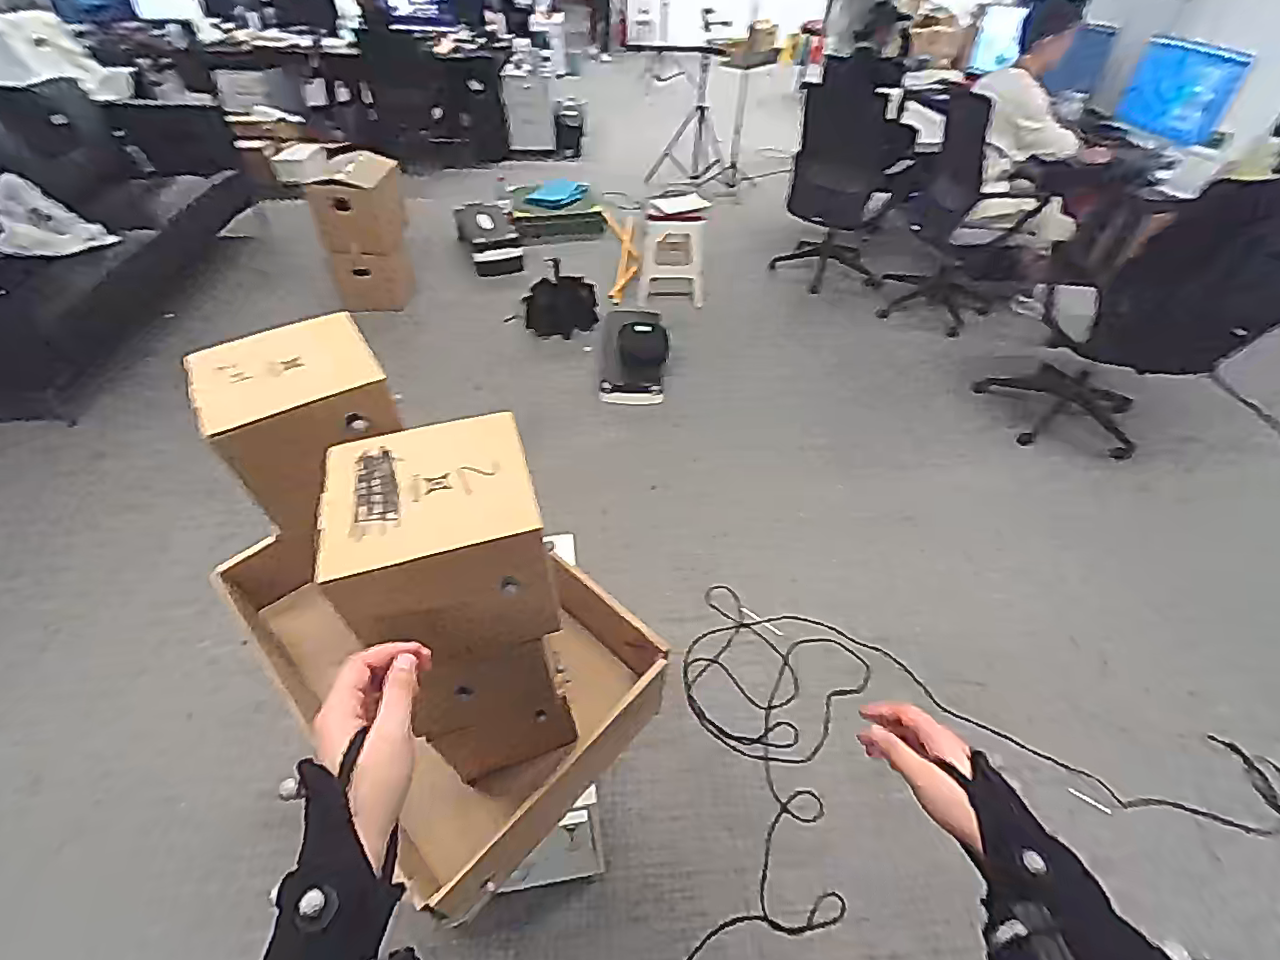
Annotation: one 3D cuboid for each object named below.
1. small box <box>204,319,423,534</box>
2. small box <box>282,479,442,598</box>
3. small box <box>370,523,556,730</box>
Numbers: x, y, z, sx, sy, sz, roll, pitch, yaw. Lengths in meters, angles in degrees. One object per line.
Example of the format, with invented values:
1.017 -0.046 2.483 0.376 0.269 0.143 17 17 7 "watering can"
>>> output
-0.390 -0.067 0.672 0.179 0.176 0.168 -27 52 -22 "small box"
-0.407 0.040 0.798 0.168 0.176 0.179 -24 53 -20 "small box"
-0.202 0.180 0.664 0.179 0.176 0.168 -10 45 -8 "small box"
